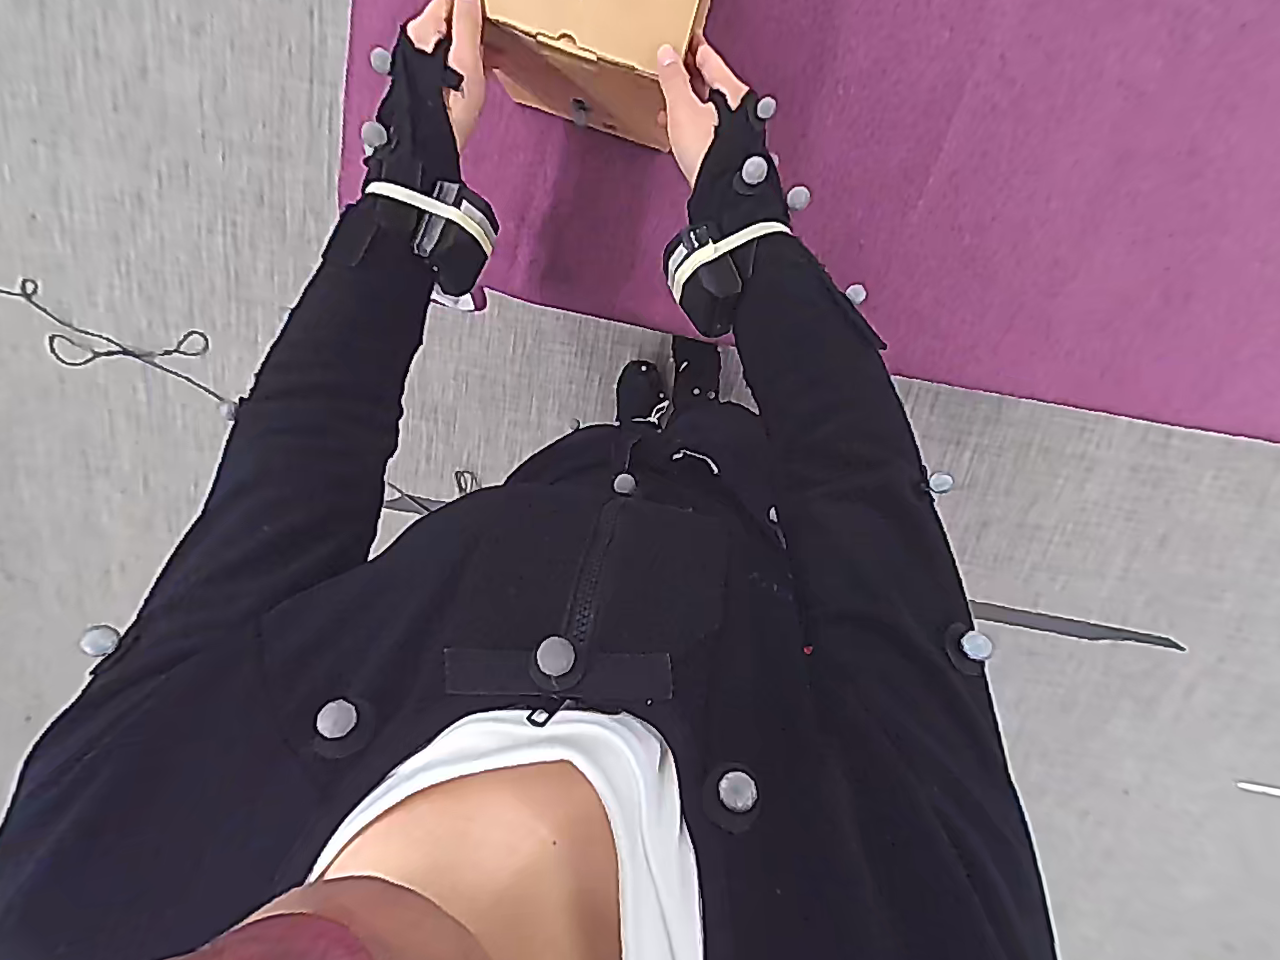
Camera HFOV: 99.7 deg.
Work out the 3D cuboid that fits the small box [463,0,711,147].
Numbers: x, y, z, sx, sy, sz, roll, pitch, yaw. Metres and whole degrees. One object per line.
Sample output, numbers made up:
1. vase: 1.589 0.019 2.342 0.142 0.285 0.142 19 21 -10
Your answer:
1. small box: -0.026 -0.411 0.439 0.168 0.176 0.179 17 106 -4
